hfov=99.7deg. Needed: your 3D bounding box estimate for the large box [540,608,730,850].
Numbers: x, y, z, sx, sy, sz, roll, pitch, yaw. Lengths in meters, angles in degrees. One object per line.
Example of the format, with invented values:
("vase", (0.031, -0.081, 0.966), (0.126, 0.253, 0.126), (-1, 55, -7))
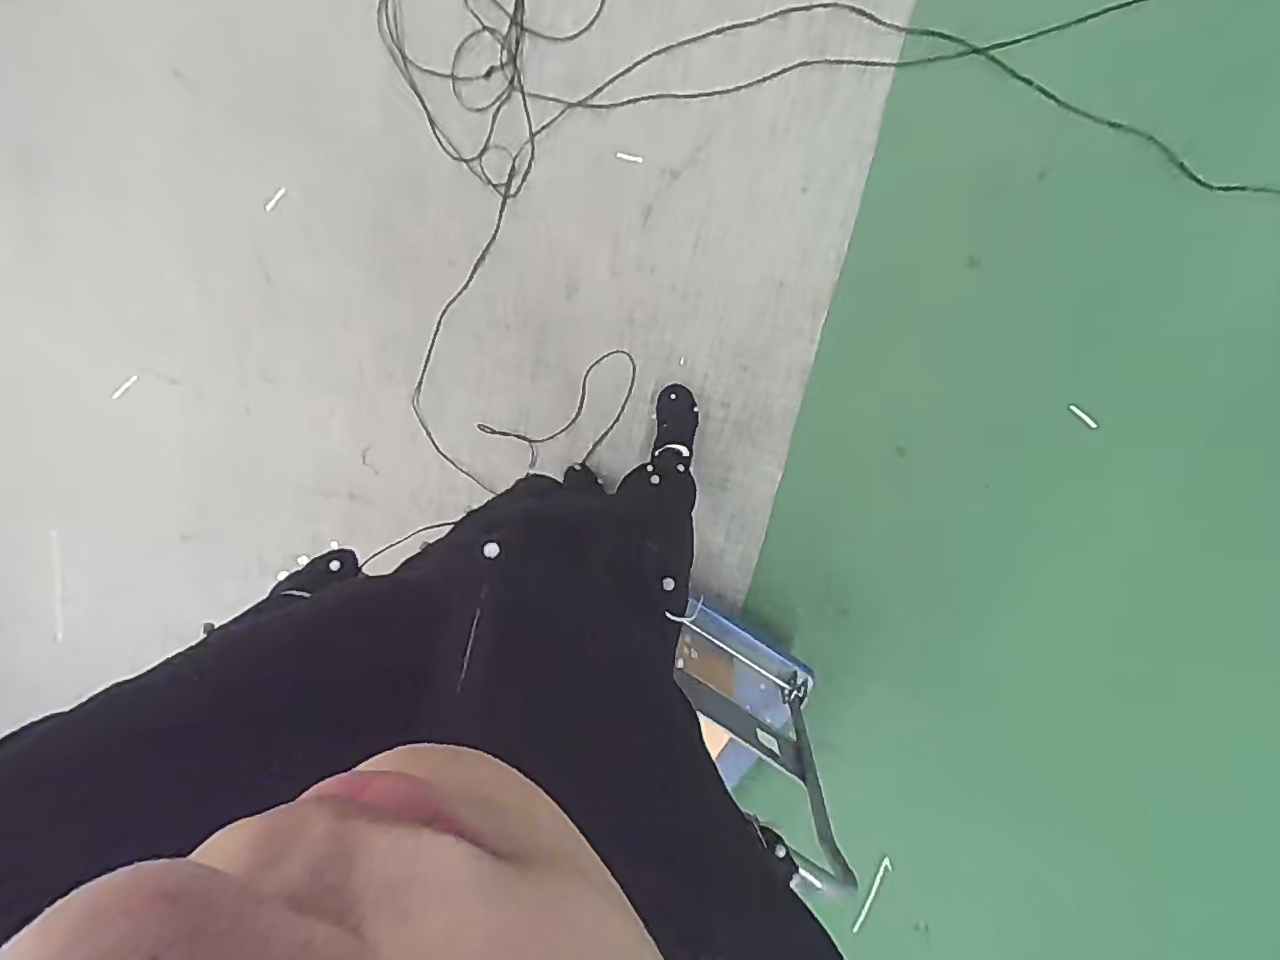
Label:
("large box", (0.003, 0.616, 1.393), (0.320, 0.320, 0.408), (30, 105, 3))
